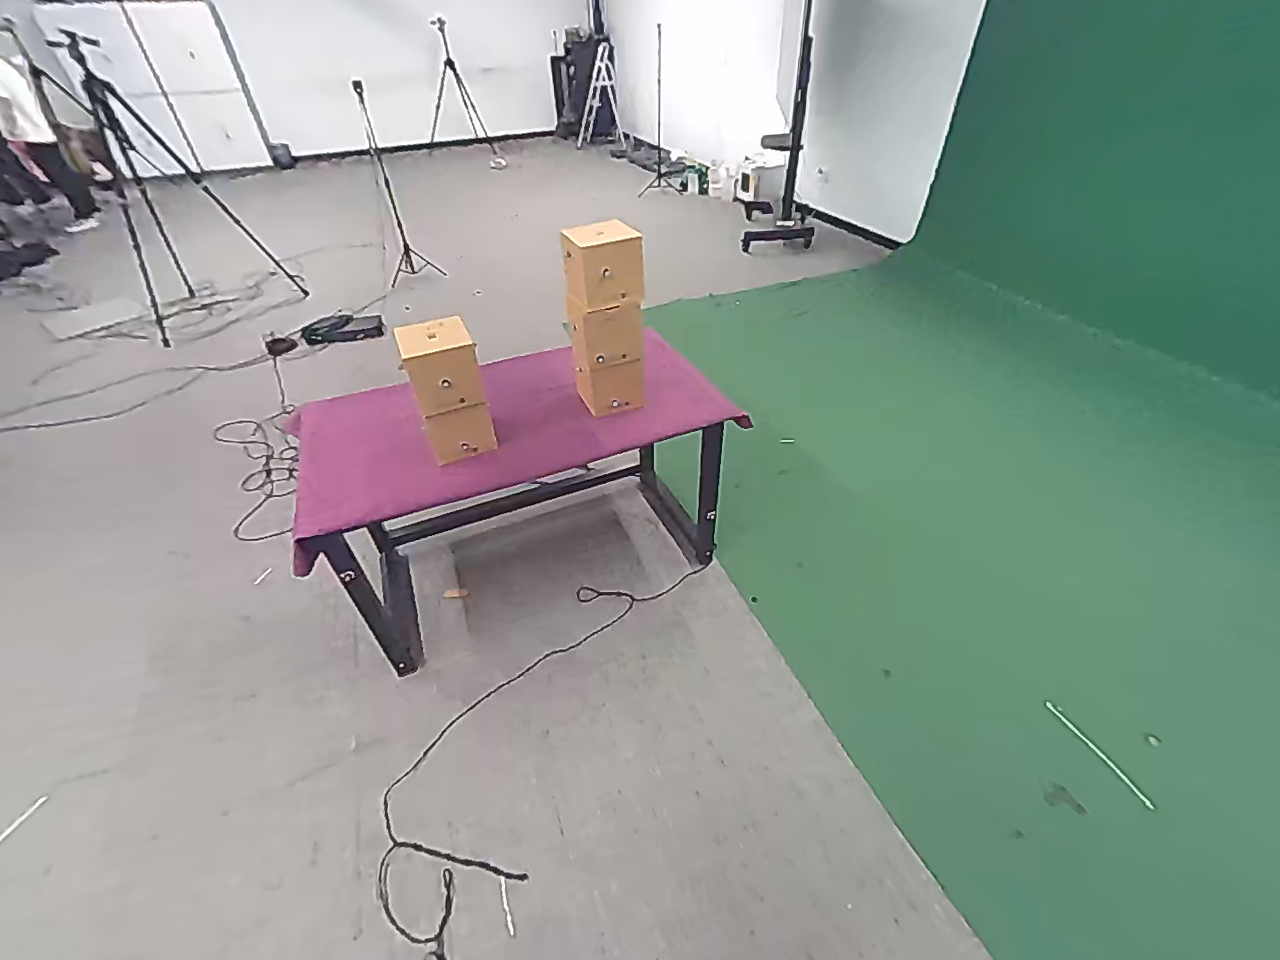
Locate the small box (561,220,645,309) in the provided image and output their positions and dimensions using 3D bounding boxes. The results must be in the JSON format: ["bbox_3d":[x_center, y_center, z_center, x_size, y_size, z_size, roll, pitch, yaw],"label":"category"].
[{"bbox_3d":[-0.094,-0.563,1.421,0.168,0.176,0.179,-19,42,-16],"label":"small box"}]

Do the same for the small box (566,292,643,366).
[{"bbox_3d":[-0.097,-0.436,1.523,0.168,0.176,0.179,-17,41,-14],"label":"small box"}]

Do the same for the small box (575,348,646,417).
[{"bbox_3d":[-0.090,-0.314,1.632,0.168,0.176,0.179,-17,43,-14],"label":"small box"}]

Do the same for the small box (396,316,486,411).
[{"bbox_3d":[-0.501,-0.290,1.372,0.168,0.176,0.179,-18,44,-18],"label":"small box"}]
